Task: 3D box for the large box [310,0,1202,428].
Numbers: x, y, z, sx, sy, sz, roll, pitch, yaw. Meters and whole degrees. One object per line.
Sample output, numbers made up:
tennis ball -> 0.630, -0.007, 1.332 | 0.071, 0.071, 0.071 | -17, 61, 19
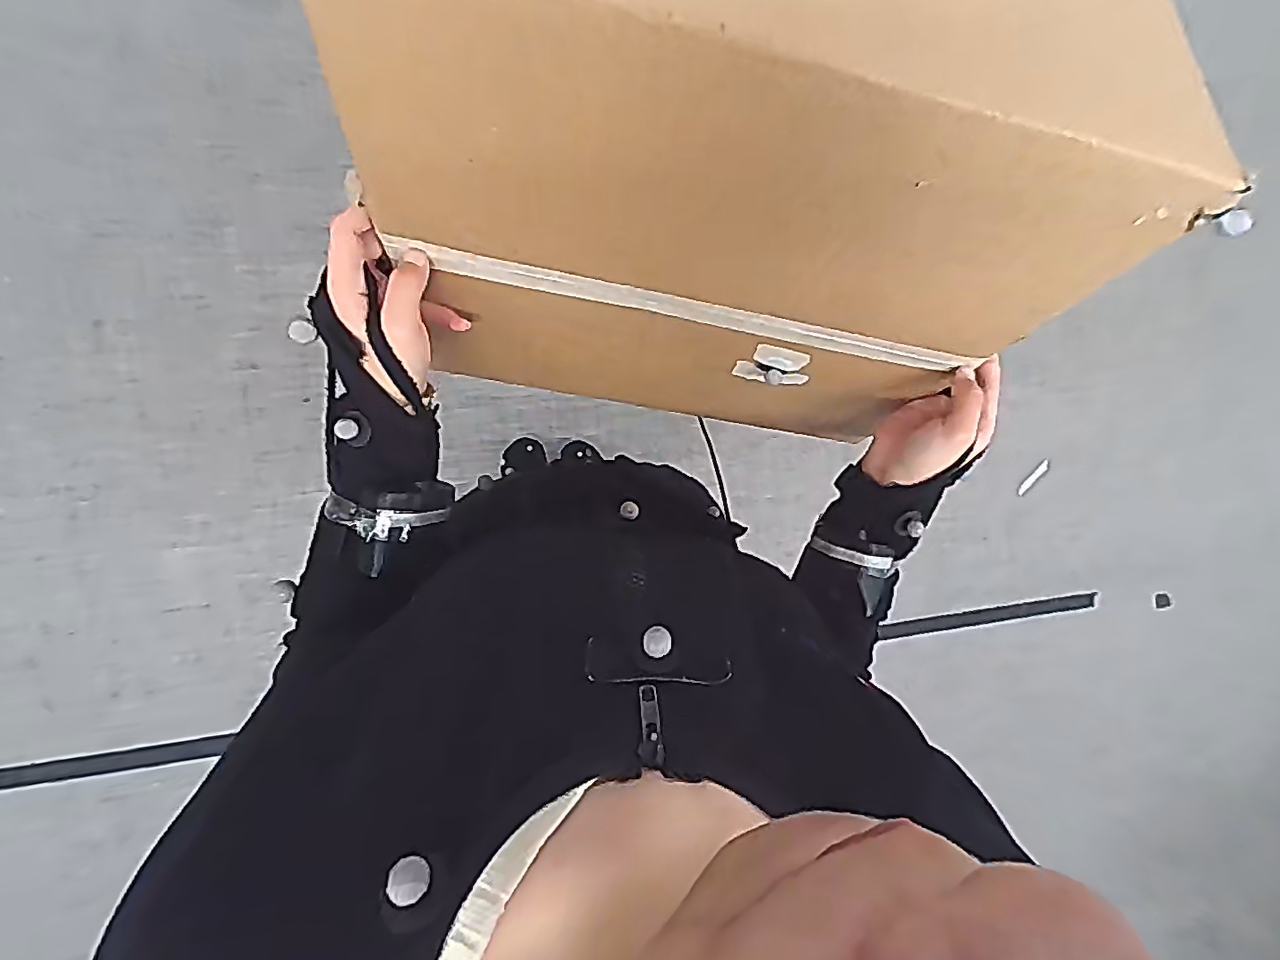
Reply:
large box -> 0.050, -0.263, 0.409 | 0.408, 0.320, 0.320 | 7, 72, -10
